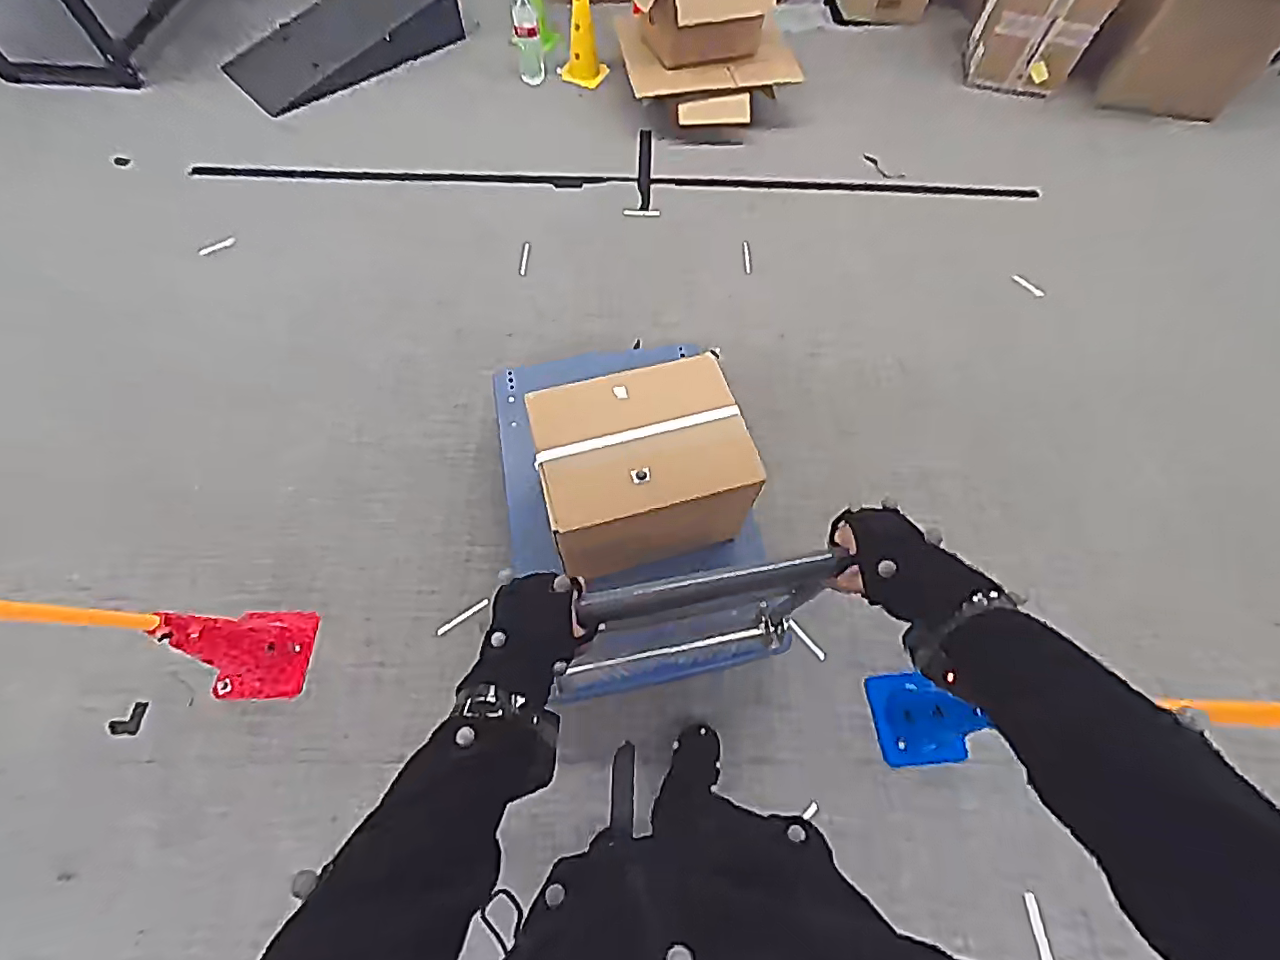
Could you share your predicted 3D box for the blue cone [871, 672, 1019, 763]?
[{"bbox_3d":[0.658,0.479,1.126,0.193,0.380,0.192,-2,62,-3],"label":"blue cone"}]
